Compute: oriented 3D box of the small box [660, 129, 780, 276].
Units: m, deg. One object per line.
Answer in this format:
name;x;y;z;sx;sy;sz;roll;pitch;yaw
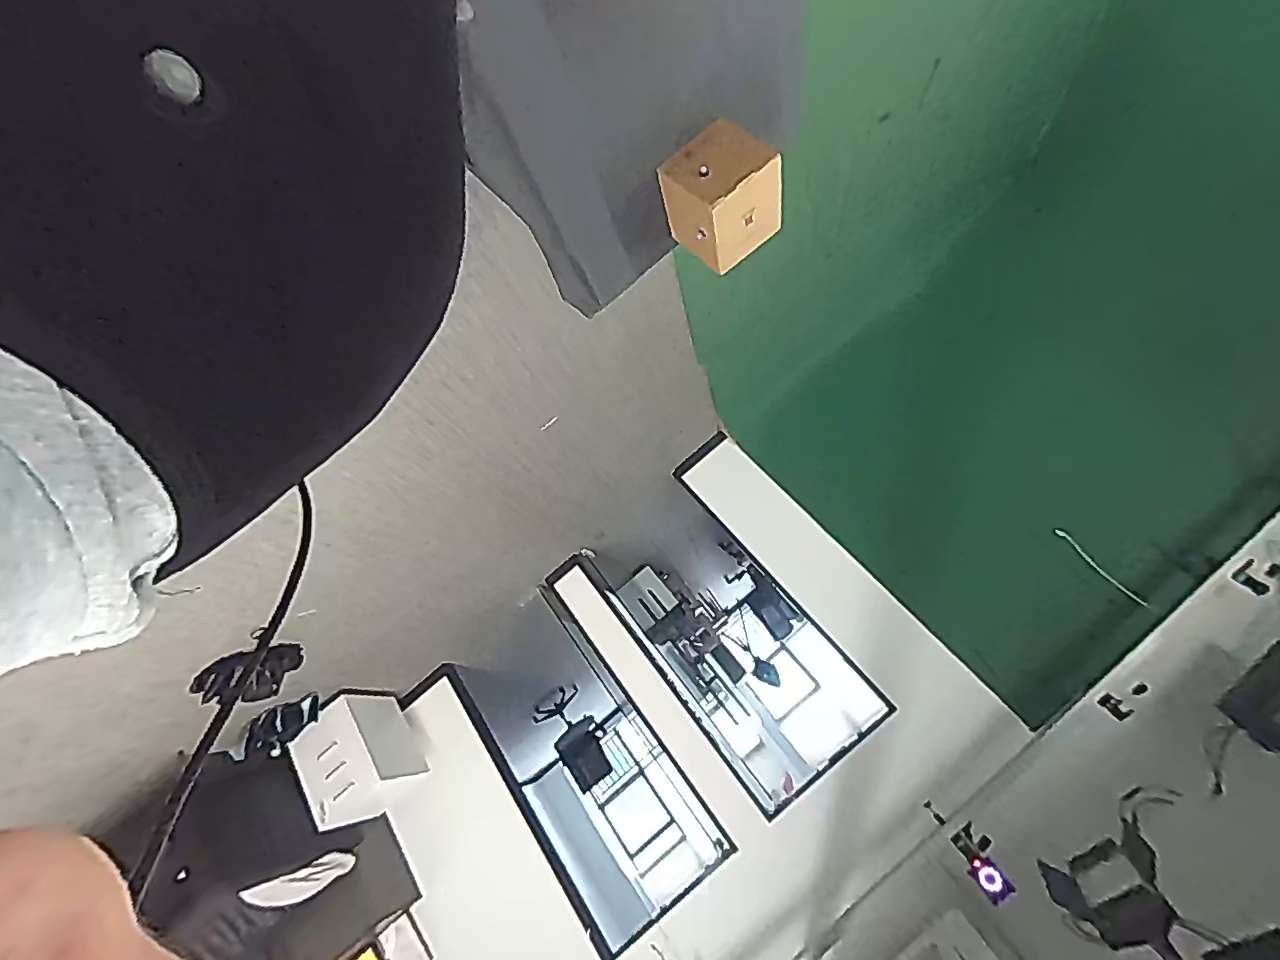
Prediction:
small box;0.157;-0.553;1.069;0.168;0.176;0.179;-39;156;-3
